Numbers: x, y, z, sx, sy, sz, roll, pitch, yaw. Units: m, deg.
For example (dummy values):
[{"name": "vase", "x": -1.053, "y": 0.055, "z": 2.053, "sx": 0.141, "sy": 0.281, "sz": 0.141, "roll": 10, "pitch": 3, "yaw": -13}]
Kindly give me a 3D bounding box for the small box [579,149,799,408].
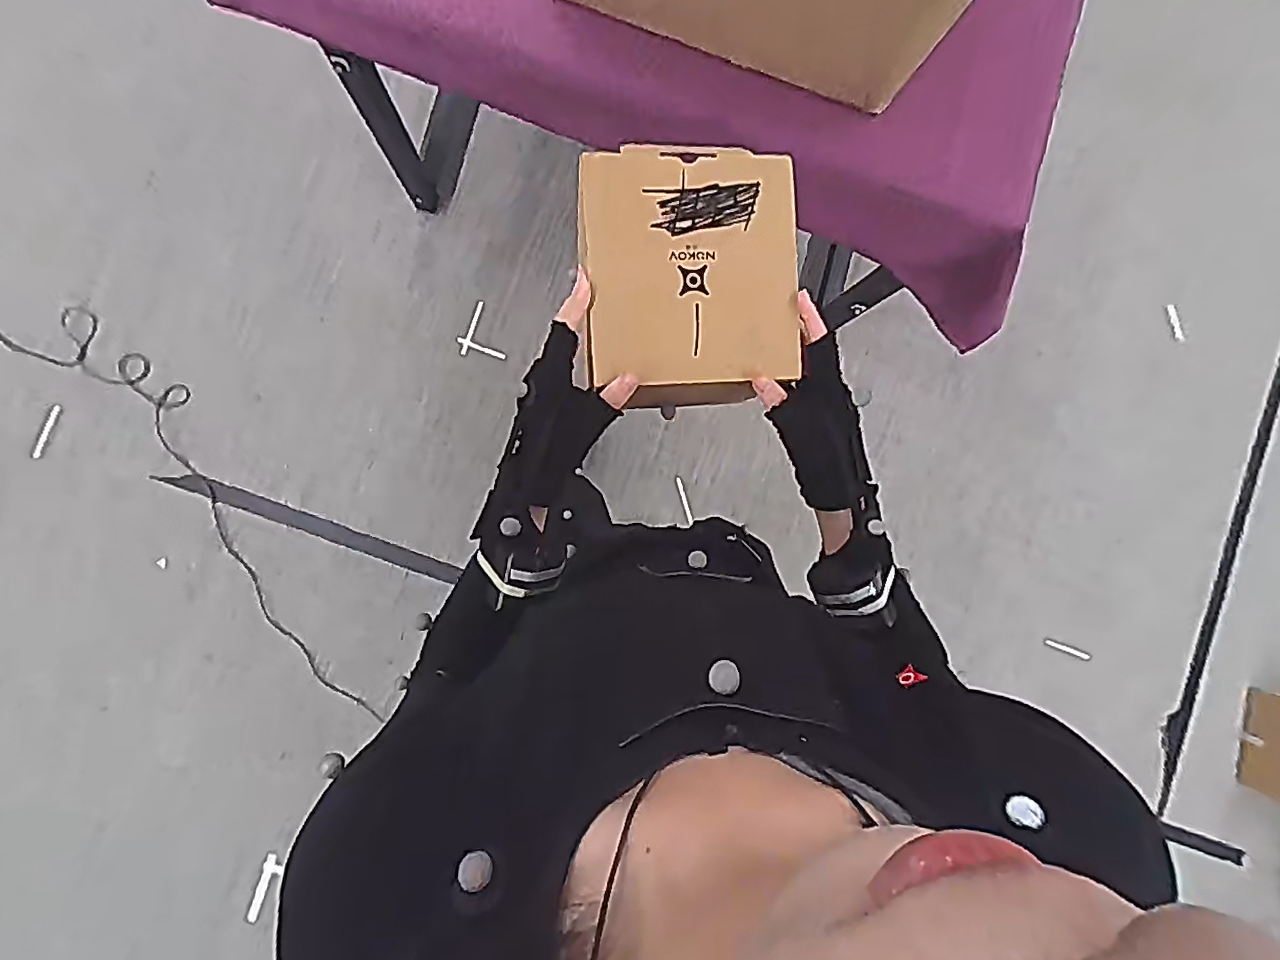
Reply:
[{"name": "small box", "x": 0.031, "y": -0.165, "z": 0.492, "sx": 0.168, "sy": 0.176, "sz": 0.179, "roll": -3, "pitch": 92, "yaw": -6}]
